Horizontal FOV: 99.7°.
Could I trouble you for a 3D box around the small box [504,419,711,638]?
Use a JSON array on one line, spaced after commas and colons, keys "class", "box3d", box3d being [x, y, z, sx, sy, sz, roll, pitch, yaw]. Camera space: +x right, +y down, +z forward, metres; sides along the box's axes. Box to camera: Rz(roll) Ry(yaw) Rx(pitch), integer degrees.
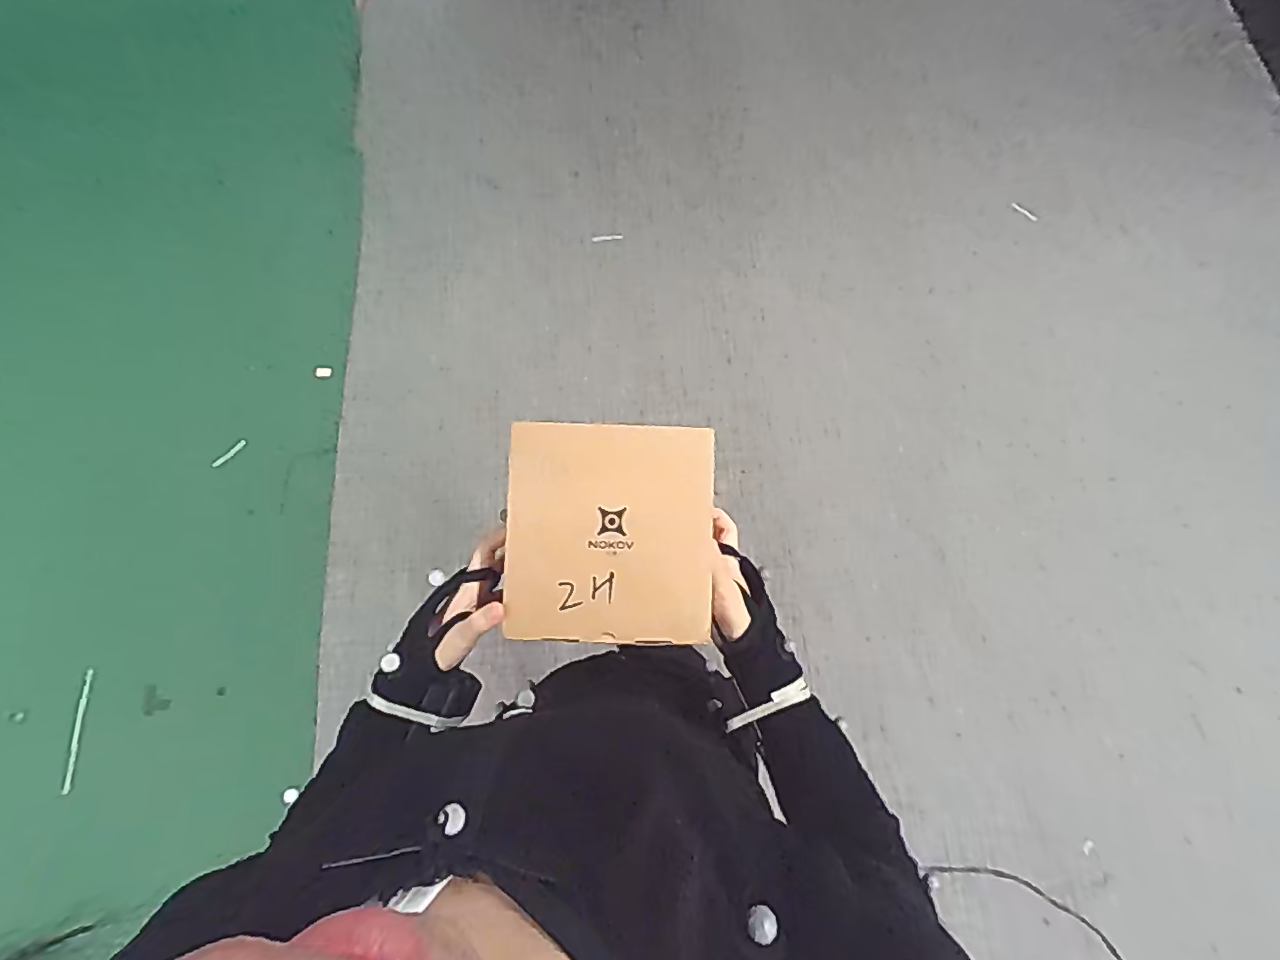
[{"class": "small box", "box3d": [-0.028, 0.044, 0.517, 0.168, 0.176, 0.179, 1, 87, -1]}]
